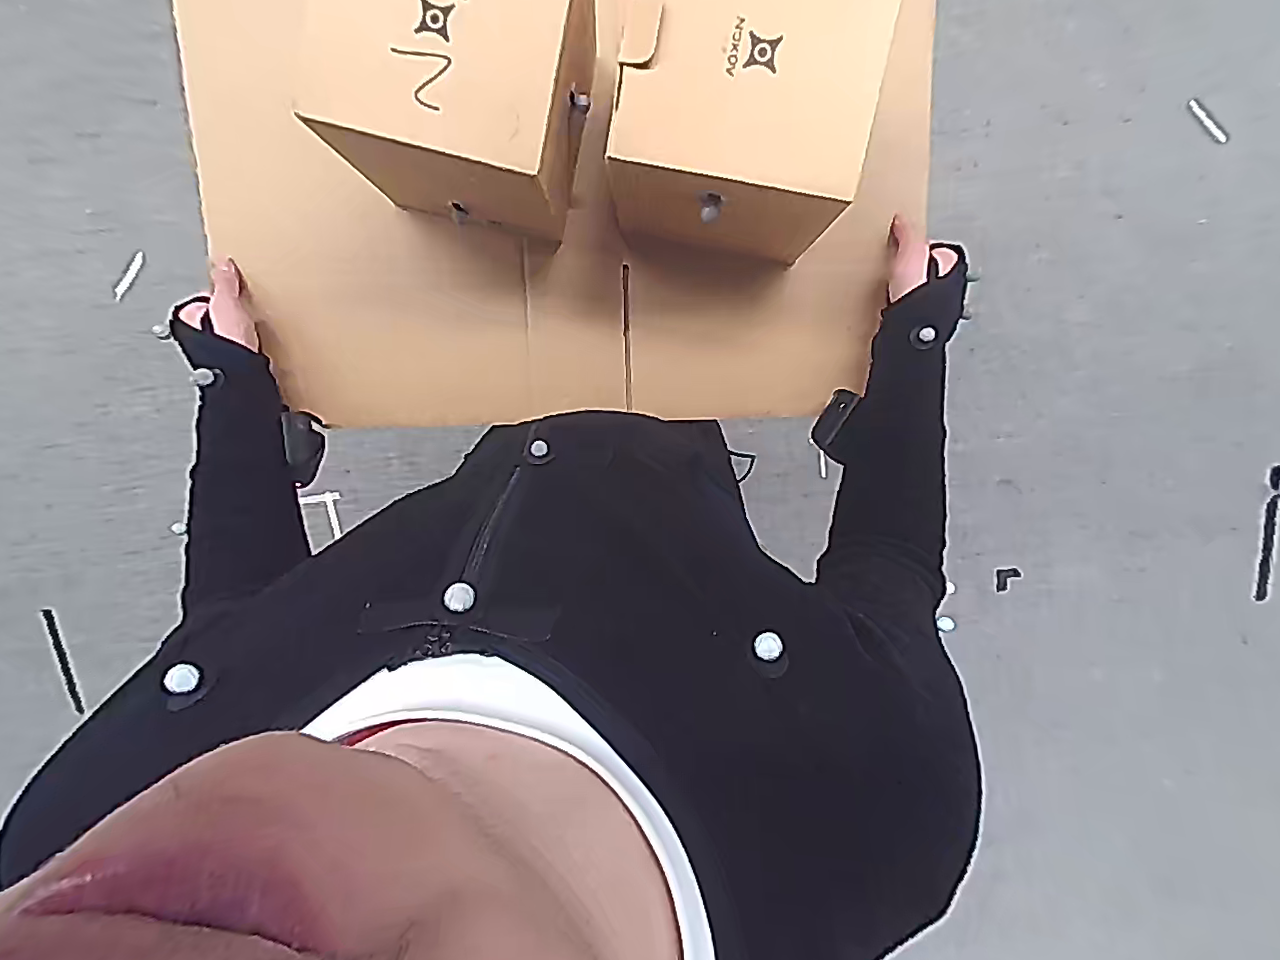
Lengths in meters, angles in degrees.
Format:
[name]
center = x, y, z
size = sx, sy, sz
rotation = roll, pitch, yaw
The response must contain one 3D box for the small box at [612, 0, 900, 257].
[small box]
center = 0.083, -0.299, 0.451
size = 0.179, 0.176, 0.168
rotation = 11, 99, 1
